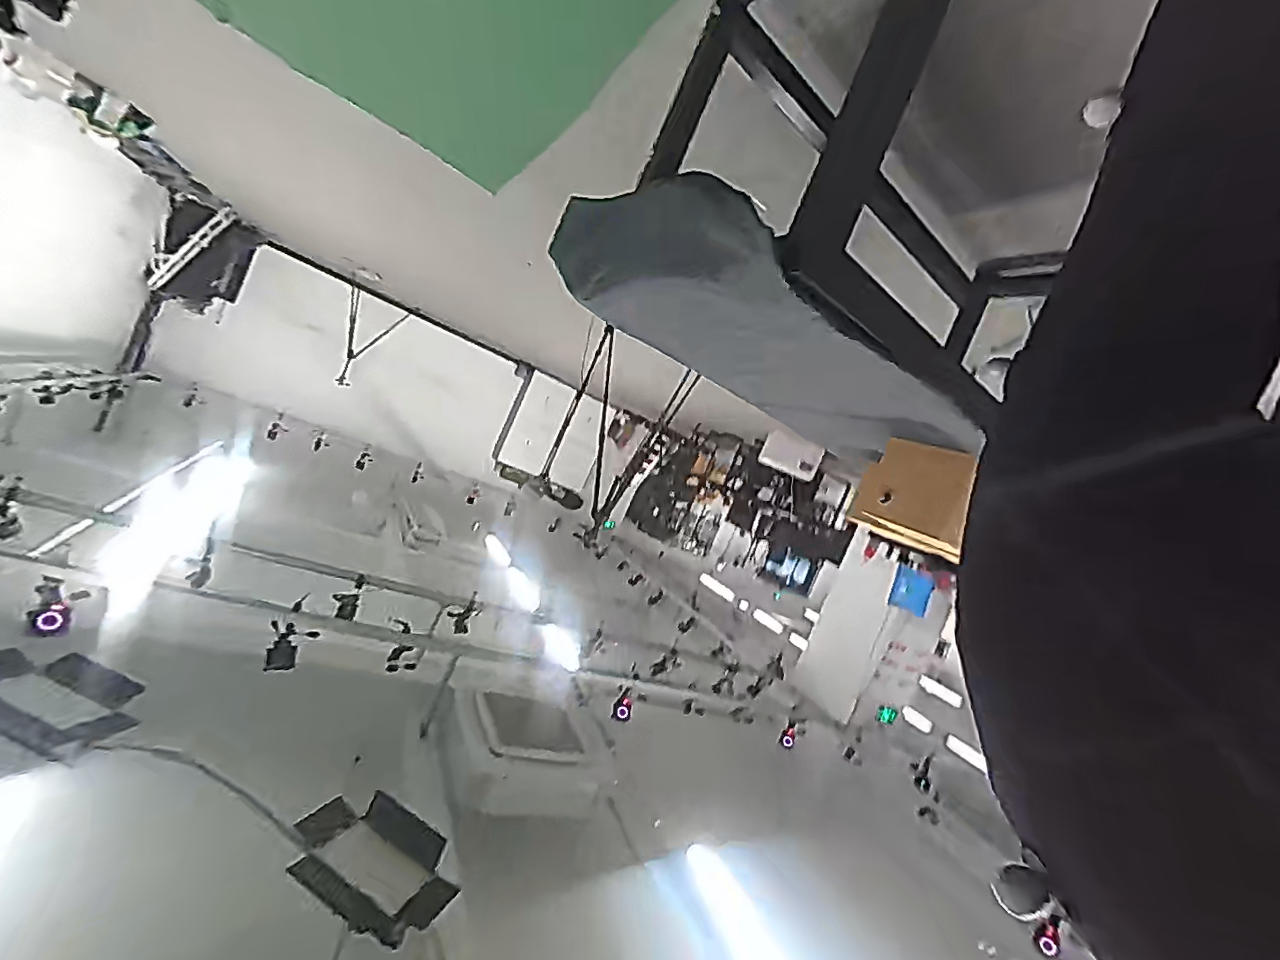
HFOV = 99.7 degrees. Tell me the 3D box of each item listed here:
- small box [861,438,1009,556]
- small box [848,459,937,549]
[{"bbox_3d":[0.589,0.027,1.080,0.168,0.176,0.179,22,-178,-35],"label":"small box"},{"bbox_3d":[0.683,0.056,1.398,0.168,0.176,0.179,22,-179,-34],"label":"small box"}]
